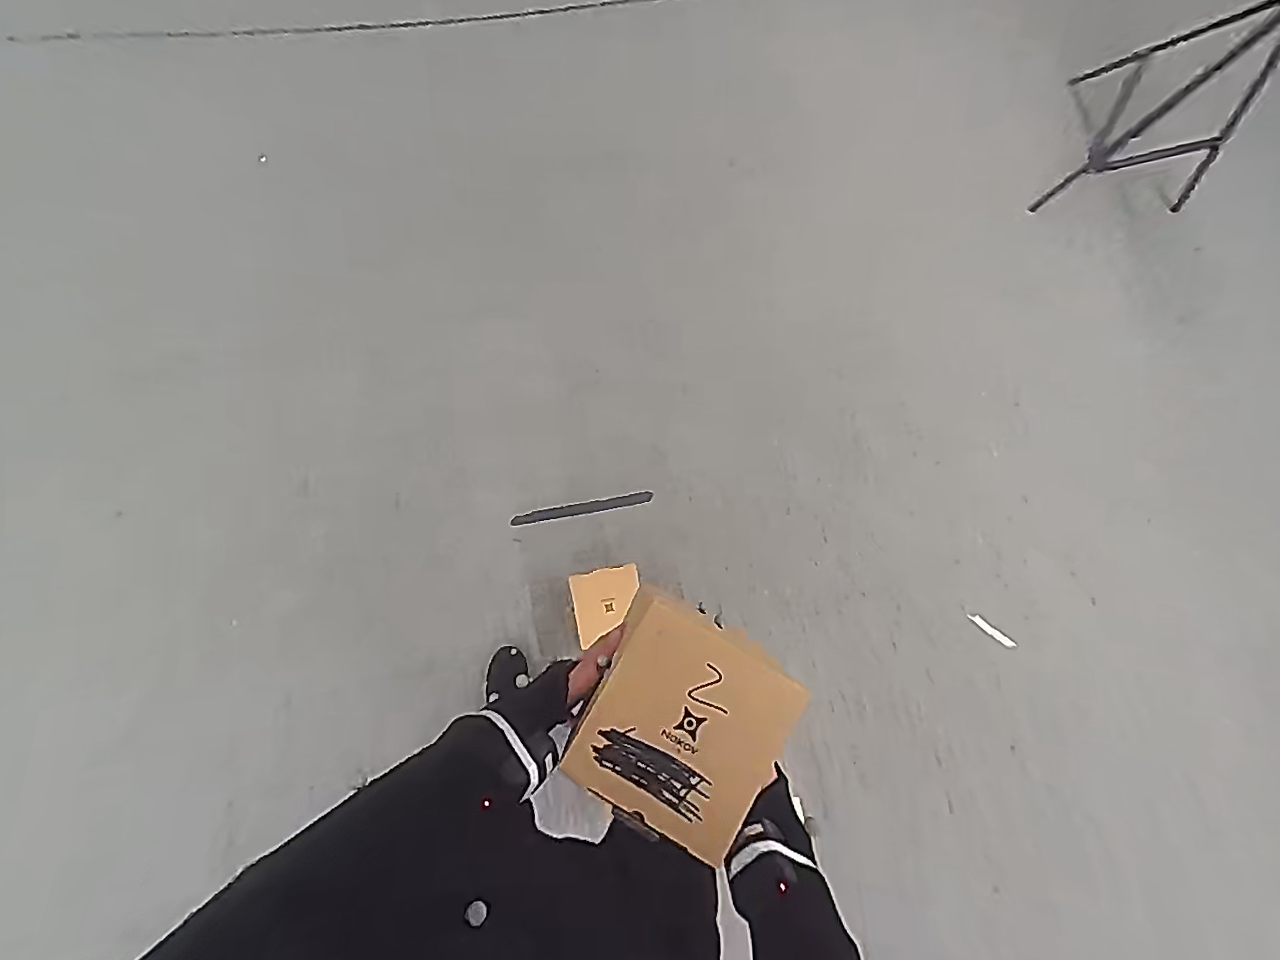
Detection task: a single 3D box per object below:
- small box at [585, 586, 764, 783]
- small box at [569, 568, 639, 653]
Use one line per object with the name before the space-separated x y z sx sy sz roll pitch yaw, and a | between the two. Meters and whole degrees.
small box | 0.040 0.255 0.725 0.168 0.176 0.179 25 83 2
small box | -0.083 0.323 1.361 0.168 0.176 0.179 -10 80 -9
